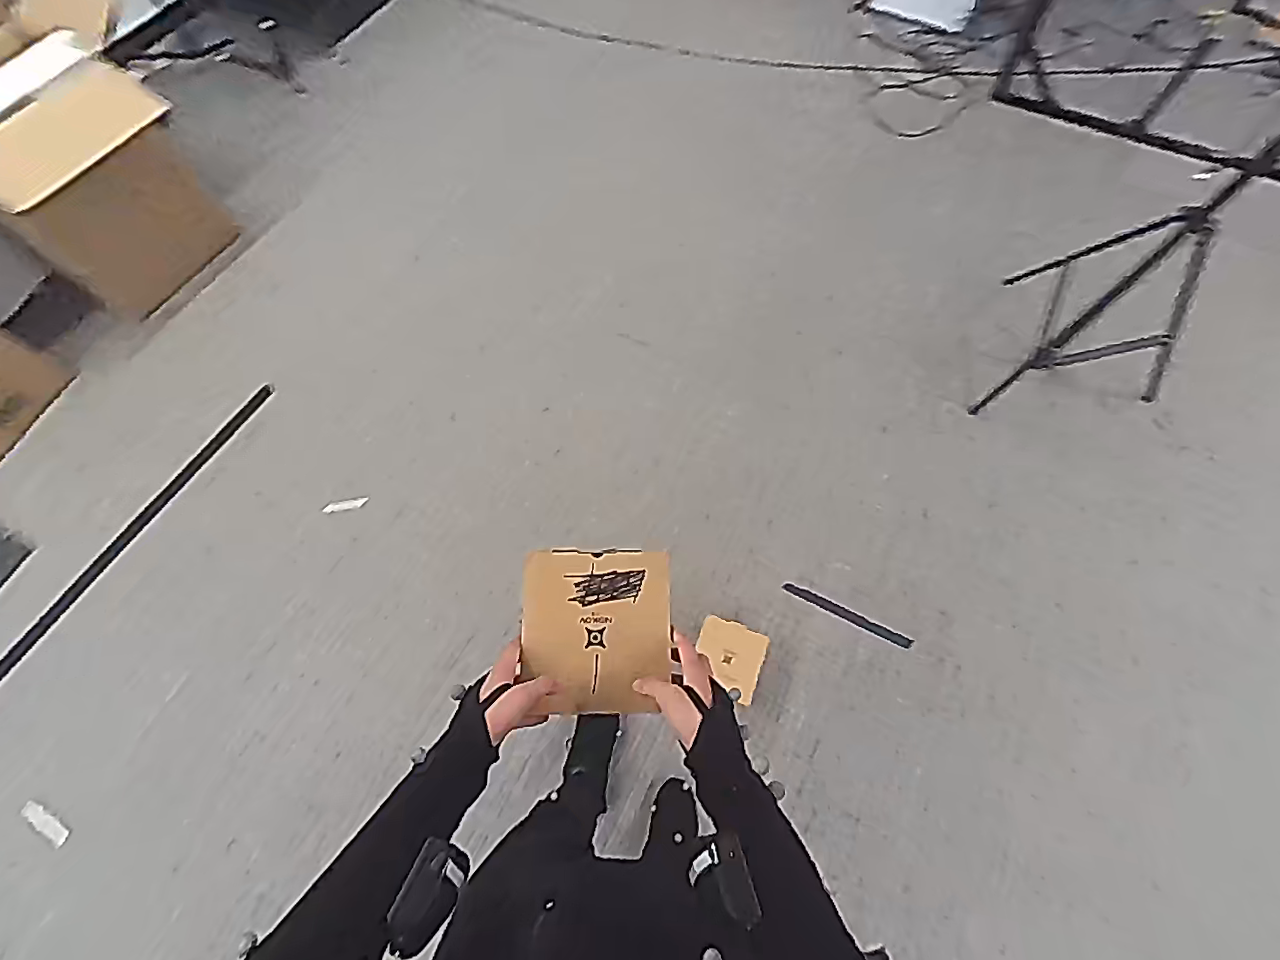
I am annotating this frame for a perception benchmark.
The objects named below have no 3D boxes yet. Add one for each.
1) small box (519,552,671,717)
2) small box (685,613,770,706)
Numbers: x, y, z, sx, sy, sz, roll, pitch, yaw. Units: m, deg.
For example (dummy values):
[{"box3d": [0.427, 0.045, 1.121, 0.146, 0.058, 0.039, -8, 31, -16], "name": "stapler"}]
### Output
[{"box3d": [-0.052, 0.186, 0.673, 0.168, 0.176, 0.179, 0, 77, -2], "name": "small box"}, {"box3d": [0.219, 0.469, 1.402, 0.168, 0.176, 0.179, 21, 69, 10], "name": "small box"}]
